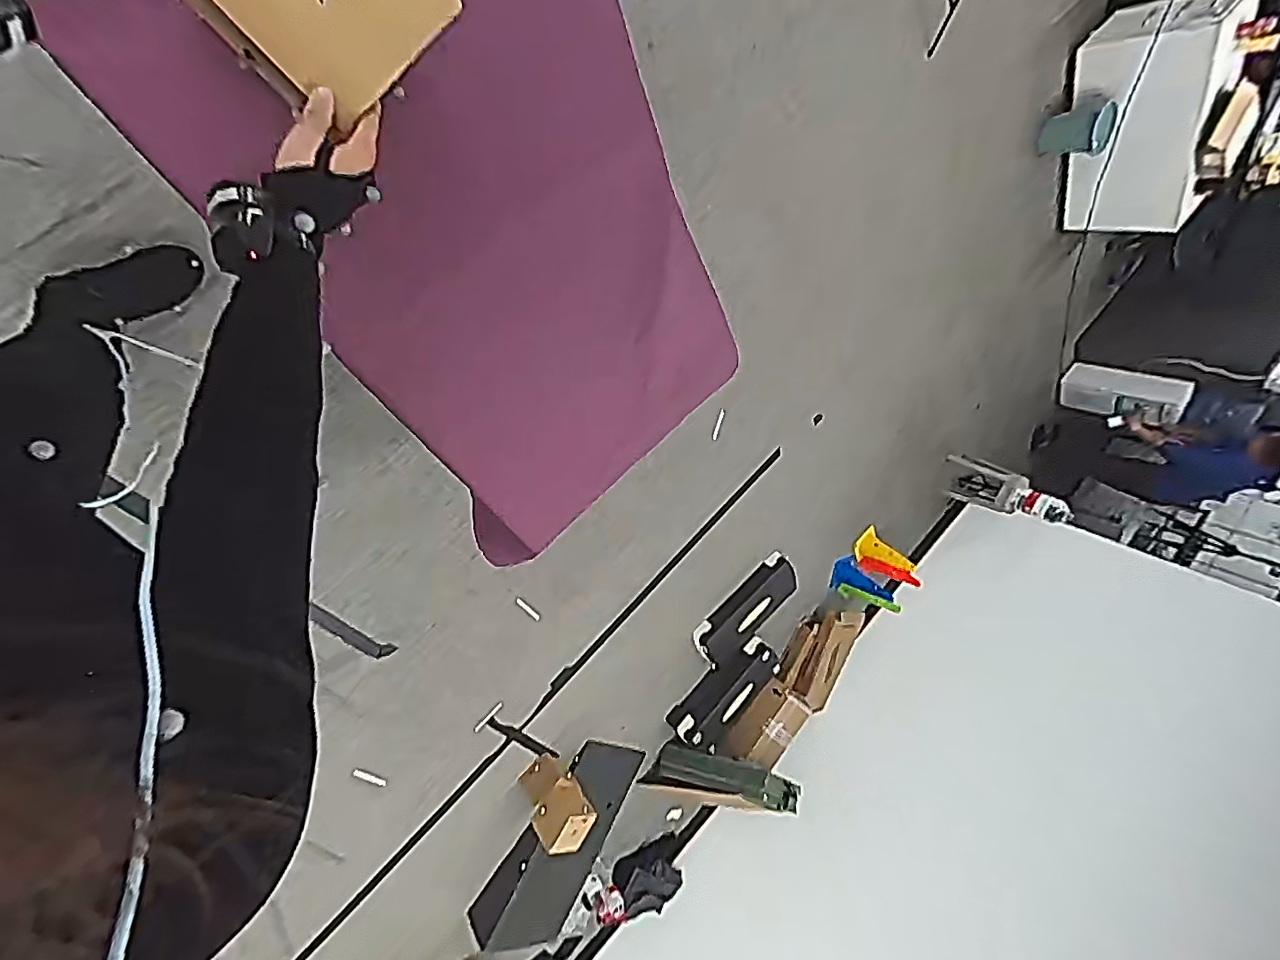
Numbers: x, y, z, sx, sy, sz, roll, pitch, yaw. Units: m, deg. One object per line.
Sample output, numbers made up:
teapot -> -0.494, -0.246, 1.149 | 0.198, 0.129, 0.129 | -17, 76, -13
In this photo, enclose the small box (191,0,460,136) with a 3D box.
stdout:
small box -> -0.314, -0.467, 0.527 | 0.179, 0.176, 0.168 | -49, 133, -2
